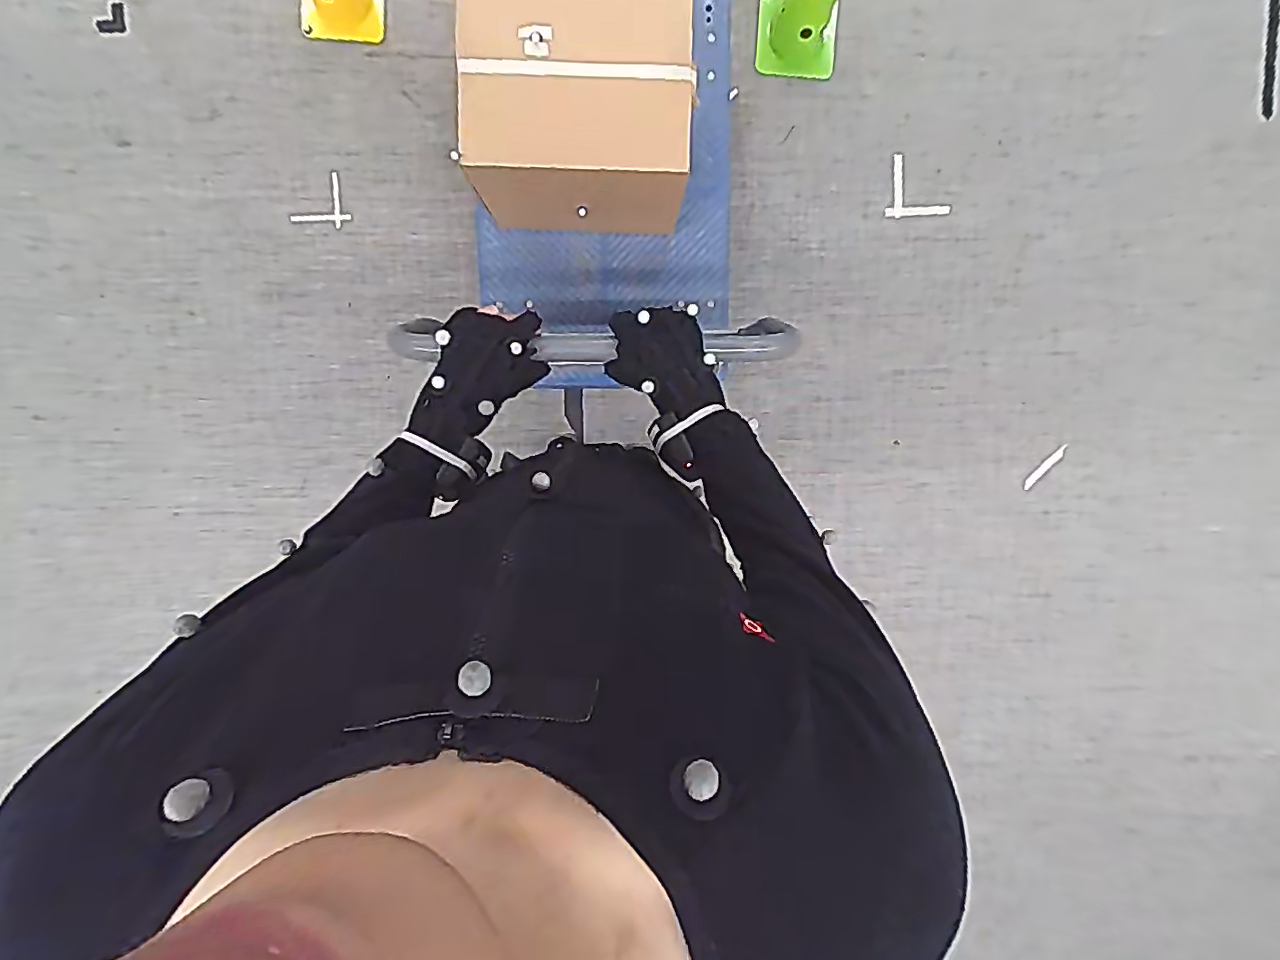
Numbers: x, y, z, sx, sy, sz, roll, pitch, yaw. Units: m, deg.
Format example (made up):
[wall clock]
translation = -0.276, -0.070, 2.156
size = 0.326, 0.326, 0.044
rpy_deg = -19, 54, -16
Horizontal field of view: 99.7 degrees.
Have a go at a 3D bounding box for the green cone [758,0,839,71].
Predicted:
[green cone]
translation = 0.409, -1.131, 1.198
size = 0.202, 0.368, 0.200
rpy_deg = 3, 96, -3

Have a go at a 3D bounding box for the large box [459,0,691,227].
[large box]
translation = -0.111, -0.716, 1.082
size = 0.408, 0.320, 0.320
rpy_deg = 1, 96, -1
